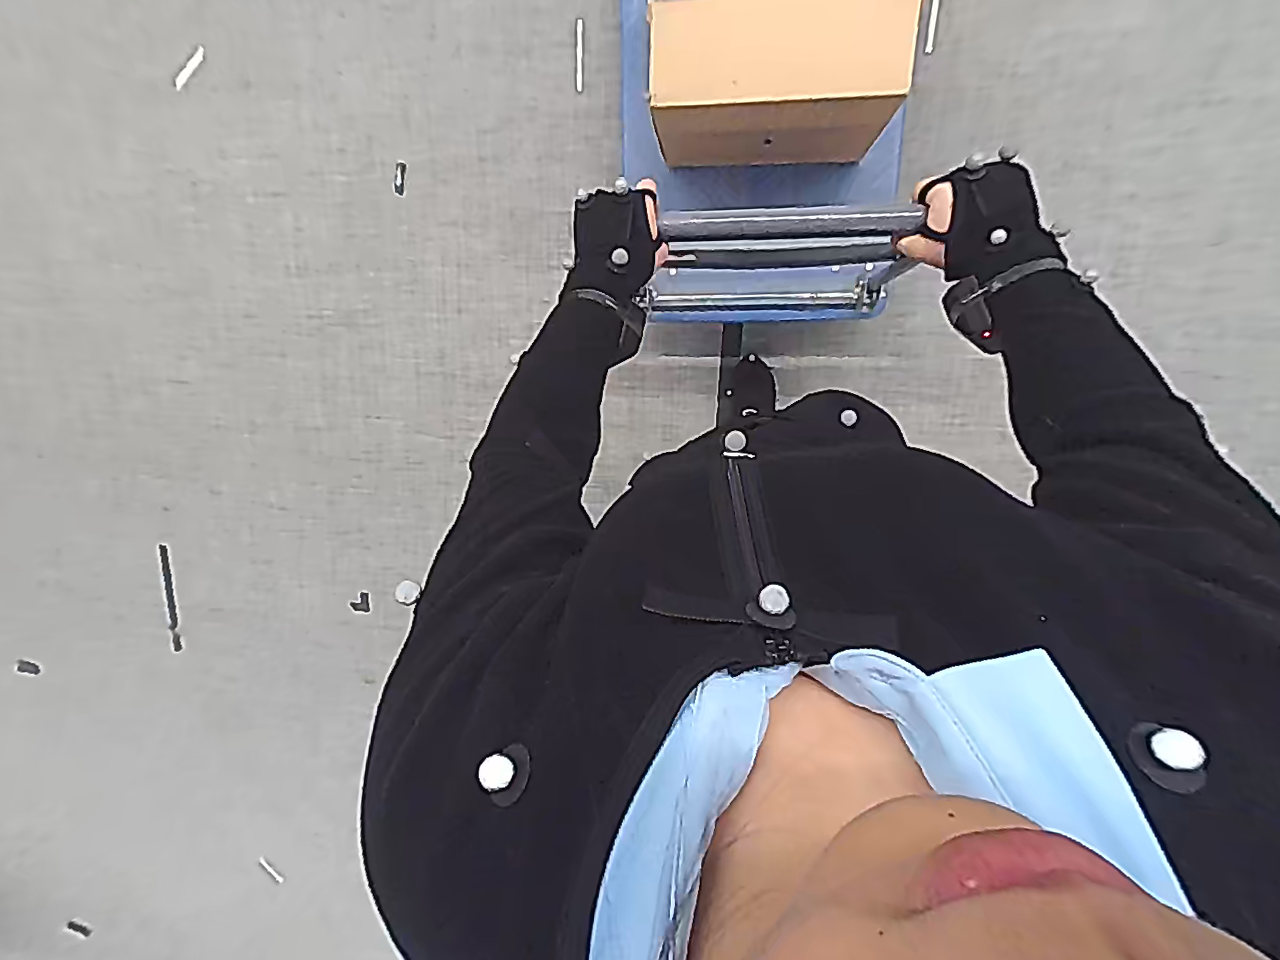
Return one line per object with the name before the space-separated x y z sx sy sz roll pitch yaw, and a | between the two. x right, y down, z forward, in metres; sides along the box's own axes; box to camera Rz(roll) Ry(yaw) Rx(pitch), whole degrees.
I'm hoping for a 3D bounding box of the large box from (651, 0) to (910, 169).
large box | 0.240 -0.791 0.985 0.408 0.320 0.320 2 103 9
